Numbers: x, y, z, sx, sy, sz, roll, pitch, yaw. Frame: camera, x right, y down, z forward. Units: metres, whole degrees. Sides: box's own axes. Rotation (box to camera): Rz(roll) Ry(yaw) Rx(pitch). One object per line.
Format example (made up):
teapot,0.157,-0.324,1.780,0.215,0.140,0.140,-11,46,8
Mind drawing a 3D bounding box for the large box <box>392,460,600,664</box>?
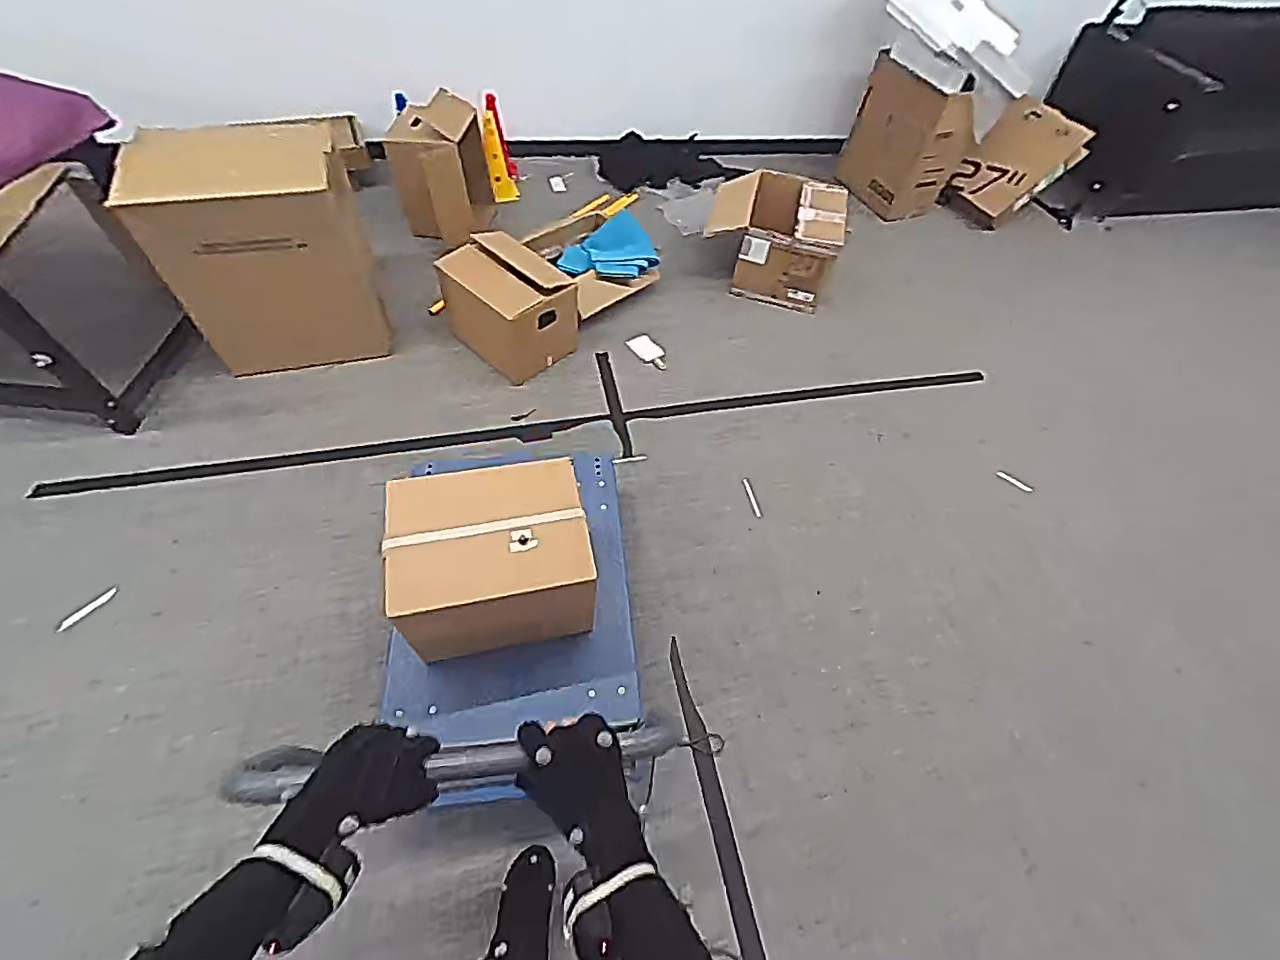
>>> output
large box,-0.327,0.191,1.256,0.408,0.320,0.320,-8,57,-14
